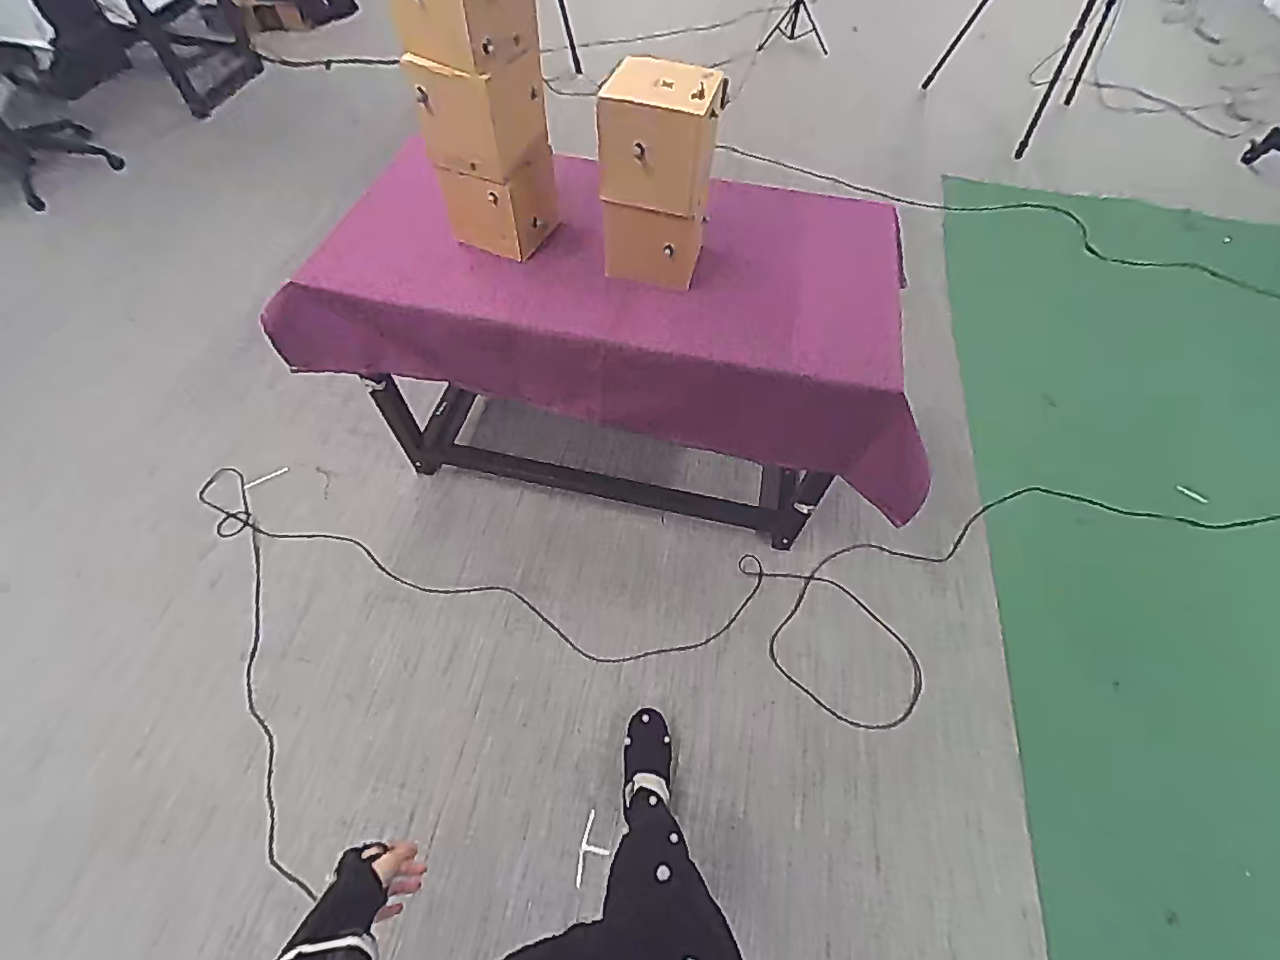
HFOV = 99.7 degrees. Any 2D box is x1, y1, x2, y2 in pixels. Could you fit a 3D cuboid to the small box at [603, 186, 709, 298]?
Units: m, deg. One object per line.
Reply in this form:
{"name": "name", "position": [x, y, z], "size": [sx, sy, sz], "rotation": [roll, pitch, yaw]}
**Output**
{"name": "small box", "position": [0.031, -0.498, 1.106], "size": [0.179, 0.176, 0.168], "rotation": [13, 56, 7]}

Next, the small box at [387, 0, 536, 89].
{"name": "small box", "position": [-0.289, -0.772, 0.881], "size": [0.179, 0.176, 0.168], "rotation": [27, 59, 15]}

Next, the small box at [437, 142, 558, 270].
{"name": "small box", "position": [-0.291, -0.576, 1.146], "size": [0.179, 0.176, 0.168], "rotation": [21, 59, 11]}

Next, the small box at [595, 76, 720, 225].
{"name": "small box", "position": [0.031, -0.584, 0.966], "size": [0.179, 0.176, 0.168], "rotation": [15, 57, 8]}
